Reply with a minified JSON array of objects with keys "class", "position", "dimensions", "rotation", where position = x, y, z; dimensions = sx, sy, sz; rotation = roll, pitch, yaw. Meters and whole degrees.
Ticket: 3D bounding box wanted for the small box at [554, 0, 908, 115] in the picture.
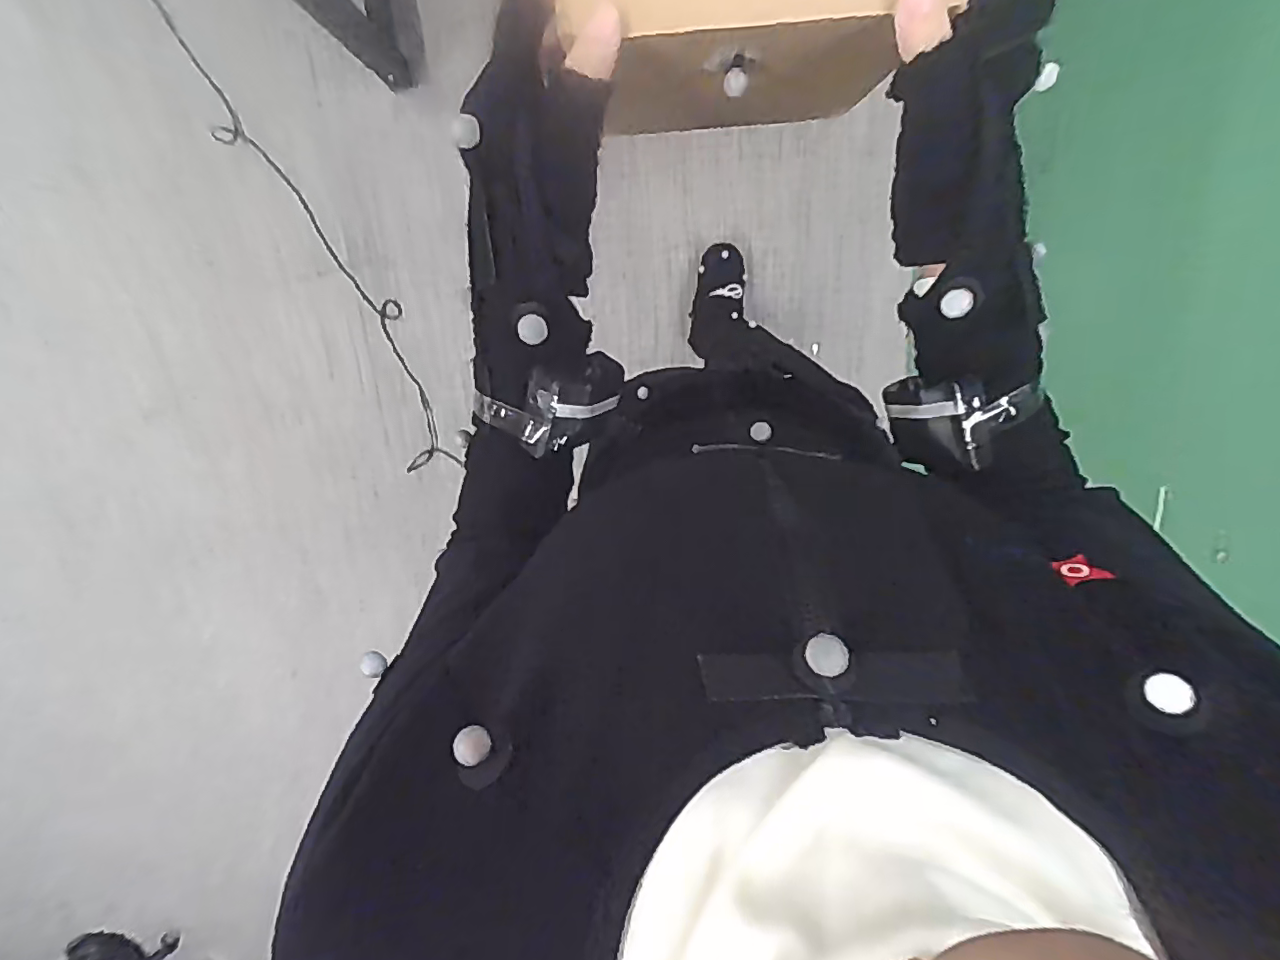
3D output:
[{"class":"small box","position":[0.046,-0.312,0.283],"dimensions":[0.179,0.176,0.168],"rotation":[-3,110,2]}]
